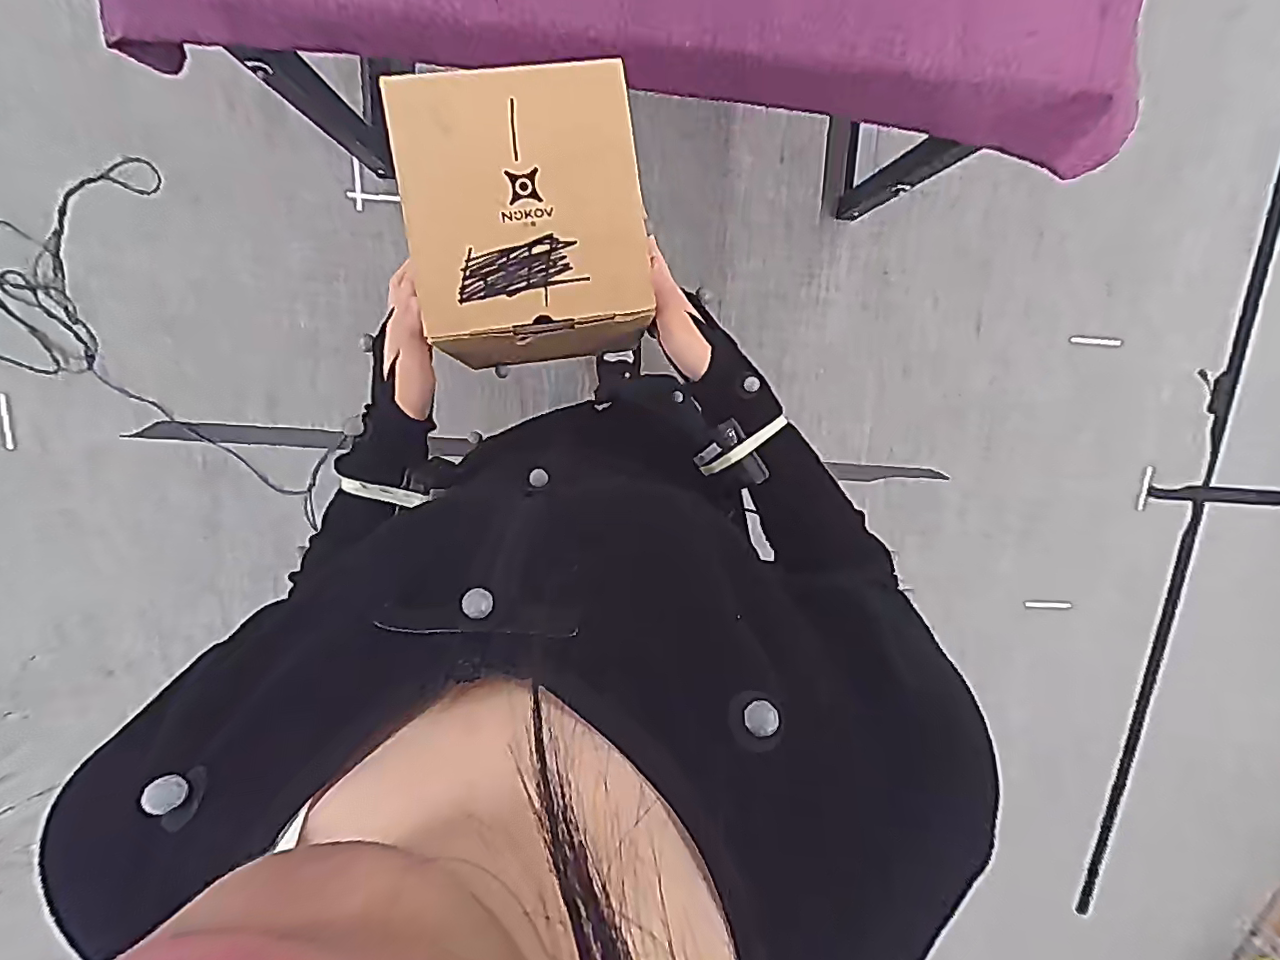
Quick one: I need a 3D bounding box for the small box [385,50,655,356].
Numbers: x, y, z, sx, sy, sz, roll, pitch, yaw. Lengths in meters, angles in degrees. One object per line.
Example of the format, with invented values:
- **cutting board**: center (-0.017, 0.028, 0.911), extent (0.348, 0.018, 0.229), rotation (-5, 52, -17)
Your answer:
- **small box**: center (-0.086, -0.205, 0.451), extent (0.168, 0.176, 0.179), rotation (-8, 94, -5)
